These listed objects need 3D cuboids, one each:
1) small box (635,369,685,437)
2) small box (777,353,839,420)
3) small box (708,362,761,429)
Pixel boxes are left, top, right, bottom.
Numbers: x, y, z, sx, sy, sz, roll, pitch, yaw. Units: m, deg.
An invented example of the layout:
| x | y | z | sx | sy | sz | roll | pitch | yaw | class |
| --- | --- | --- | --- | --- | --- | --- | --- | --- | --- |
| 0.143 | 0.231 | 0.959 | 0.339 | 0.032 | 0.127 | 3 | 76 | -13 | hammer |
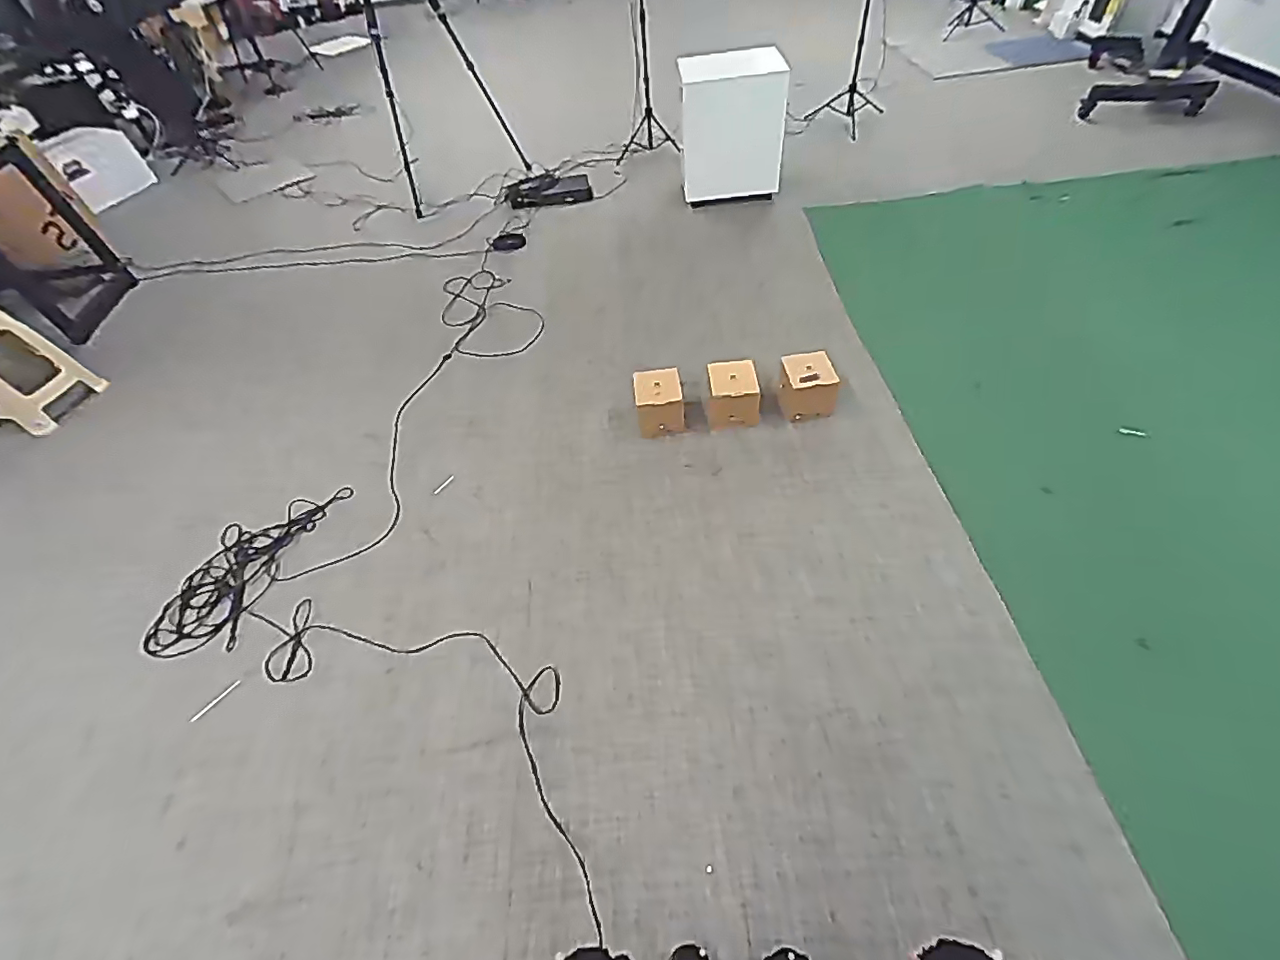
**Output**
| x | y | z | sx | sy | sz | roll | pitch | yaw | class |
| --- | --- | --- | --- | --- | --- | --- | --- | --- | --- |
| 0.073 | -0.280 | 1.981 | 0.168 | 0.176 | 0.179 | -7 | 52 | 2 | small box |
| 0.607 | -0.335 | 1.969 | 0.168 | 0.176 | 0.179 | -7 | 51 | 0 | small box |
| 0.340 | -0.307 | 1.976 | 0.168 | 0.176 | 0.179 | -5 | 52 | 2 | small box |
